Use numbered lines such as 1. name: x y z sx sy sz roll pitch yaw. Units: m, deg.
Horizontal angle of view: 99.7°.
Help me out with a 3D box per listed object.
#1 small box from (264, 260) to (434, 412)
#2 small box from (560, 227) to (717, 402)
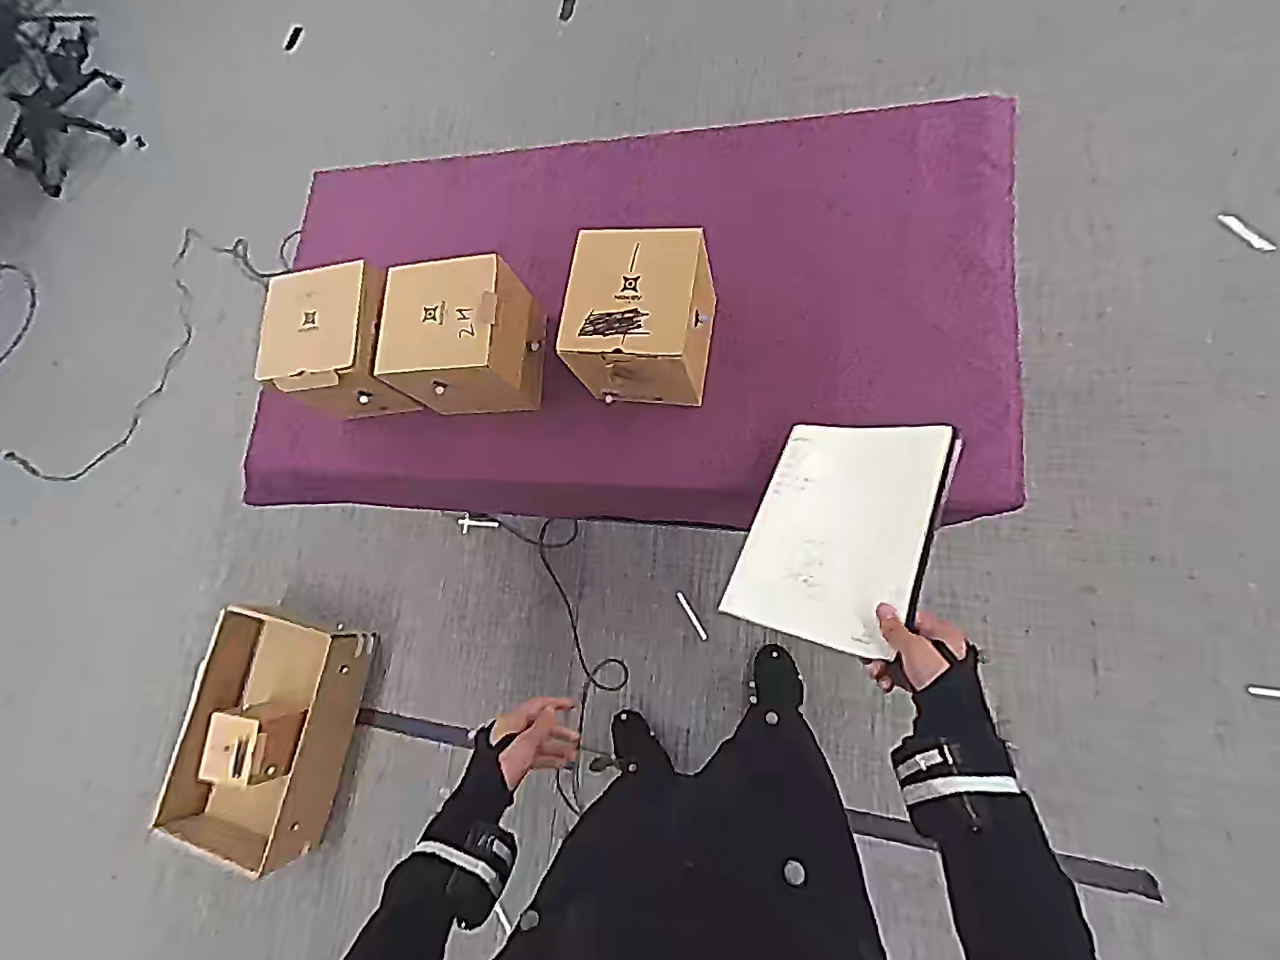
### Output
1. small box: -0.450 -0.215 0.862 0.168 0.176 0.179 -4 76 12
2. small box: 0.009 -0.218 0.747 0.168 0.176 0.179 7 78 15
